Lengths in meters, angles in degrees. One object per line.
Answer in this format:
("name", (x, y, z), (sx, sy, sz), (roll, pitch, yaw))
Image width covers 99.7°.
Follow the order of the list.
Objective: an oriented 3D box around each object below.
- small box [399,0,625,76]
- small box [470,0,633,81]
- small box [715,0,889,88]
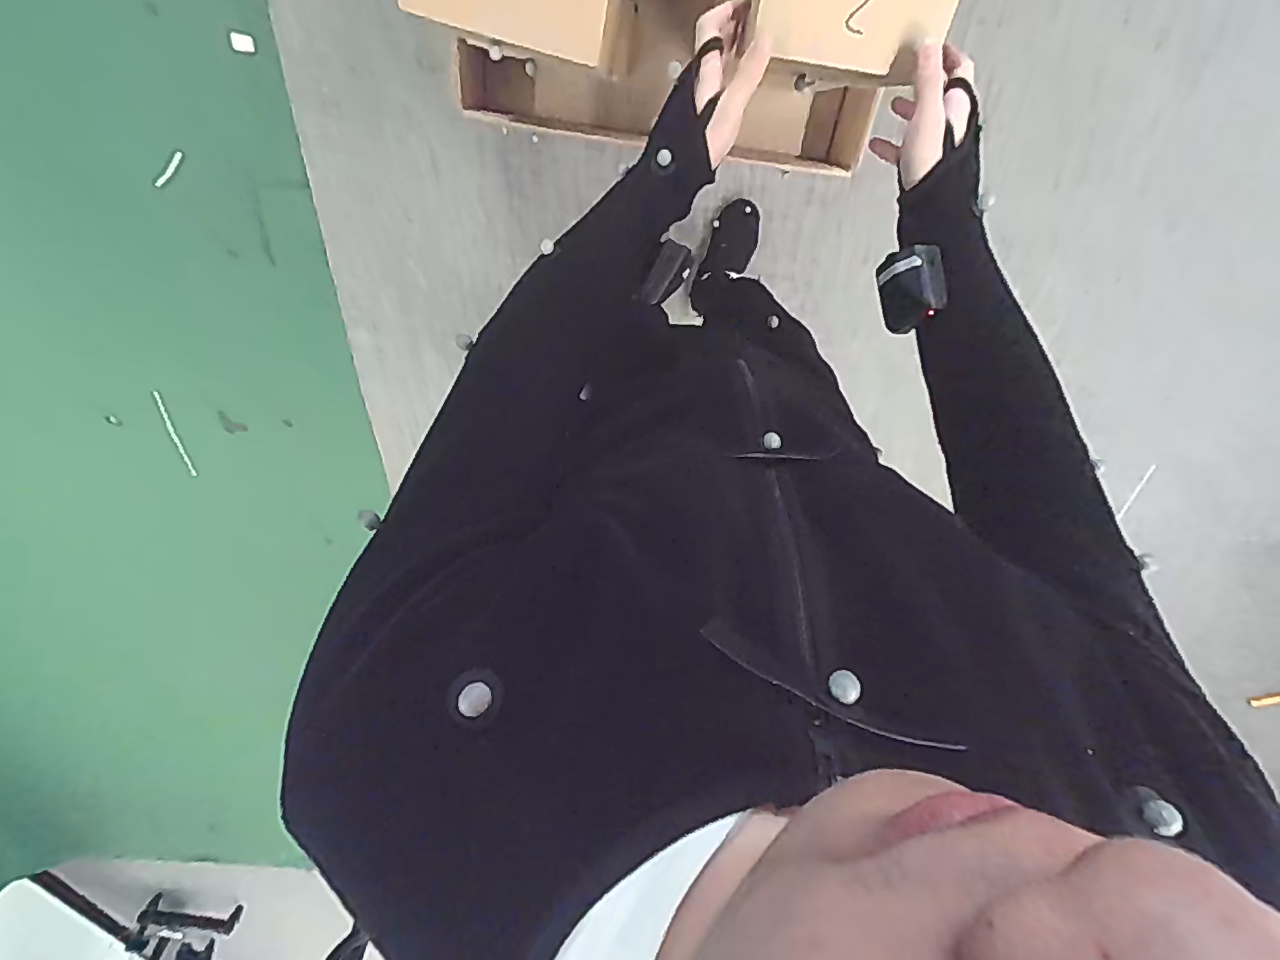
("small box", (-0.100, -0.490, 0.492), (0.179, 0.176, 0.168), (12, 124, -7))
("small box", (-0.092, -0.585, 0.626), (0.168, 0.176, 0.179), (9, 123, -5))
("small box", (0.186, -0.572, 0.625), (0.168, 0.176, 0.179), (7, 124, -4))
